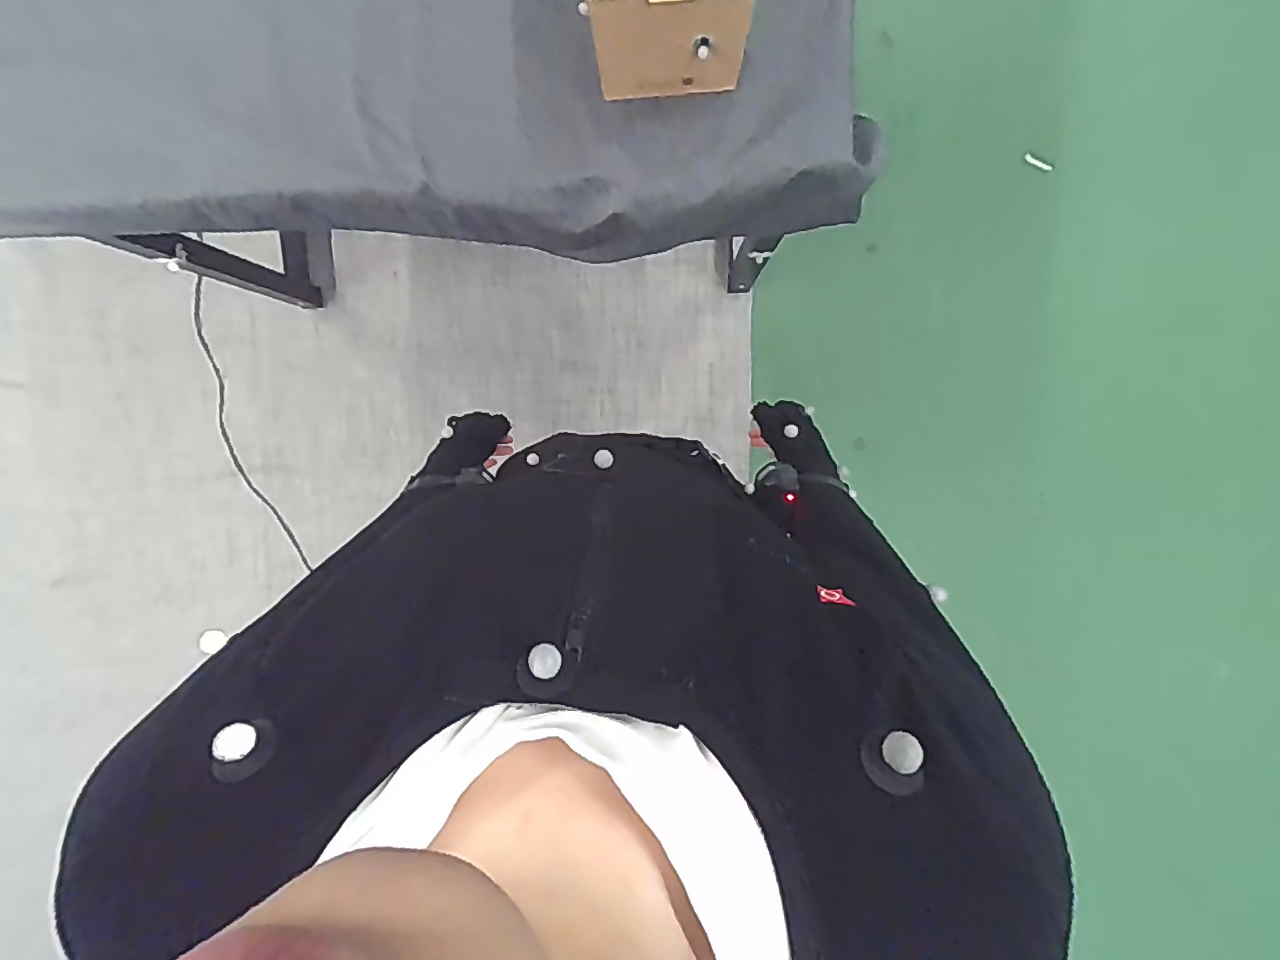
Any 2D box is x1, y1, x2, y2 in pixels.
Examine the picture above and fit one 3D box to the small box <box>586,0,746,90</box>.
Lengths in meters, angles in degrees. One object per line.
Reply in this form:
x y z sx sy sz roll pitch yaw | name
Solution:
0.027 -0.561 0.588 0.168 0.176 0.179 -3 94 2 | small box
